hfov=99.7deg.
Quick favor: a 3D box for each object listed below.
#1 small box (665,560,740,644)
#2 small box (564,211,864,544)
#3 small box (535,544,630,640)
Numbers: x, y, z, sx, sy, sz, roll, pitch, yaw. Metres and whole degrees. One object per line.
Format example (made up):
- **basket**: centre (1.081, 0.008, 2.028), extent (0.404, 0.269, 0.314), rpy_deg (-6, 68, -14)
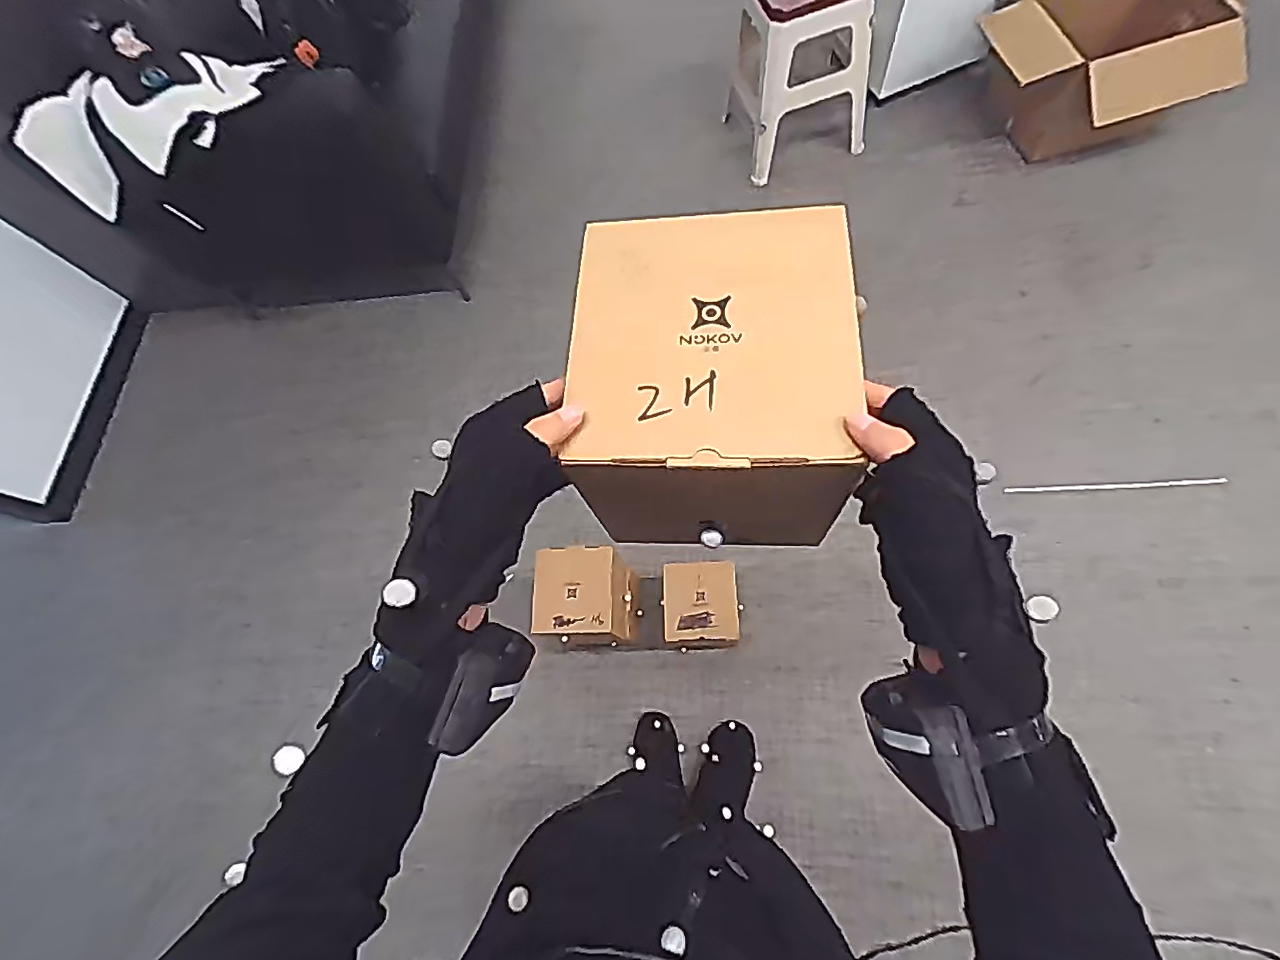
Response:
- **small box**: centre (0.151, 0.295, 1.284), extent (0.168, 0.176, 0.179), rpy_deg (-3, 68, 8)
- **small box**: centre (0.054, -0.062, 0.397), extent (0.168, 0.176, 0.179), rpy_deg (1, 69, 10)
- **small box**: centre (-0.117, 0.247, 1.171), extent (0.168, 0.176, 0.179), rpy_deg (-2, 68, 8)
